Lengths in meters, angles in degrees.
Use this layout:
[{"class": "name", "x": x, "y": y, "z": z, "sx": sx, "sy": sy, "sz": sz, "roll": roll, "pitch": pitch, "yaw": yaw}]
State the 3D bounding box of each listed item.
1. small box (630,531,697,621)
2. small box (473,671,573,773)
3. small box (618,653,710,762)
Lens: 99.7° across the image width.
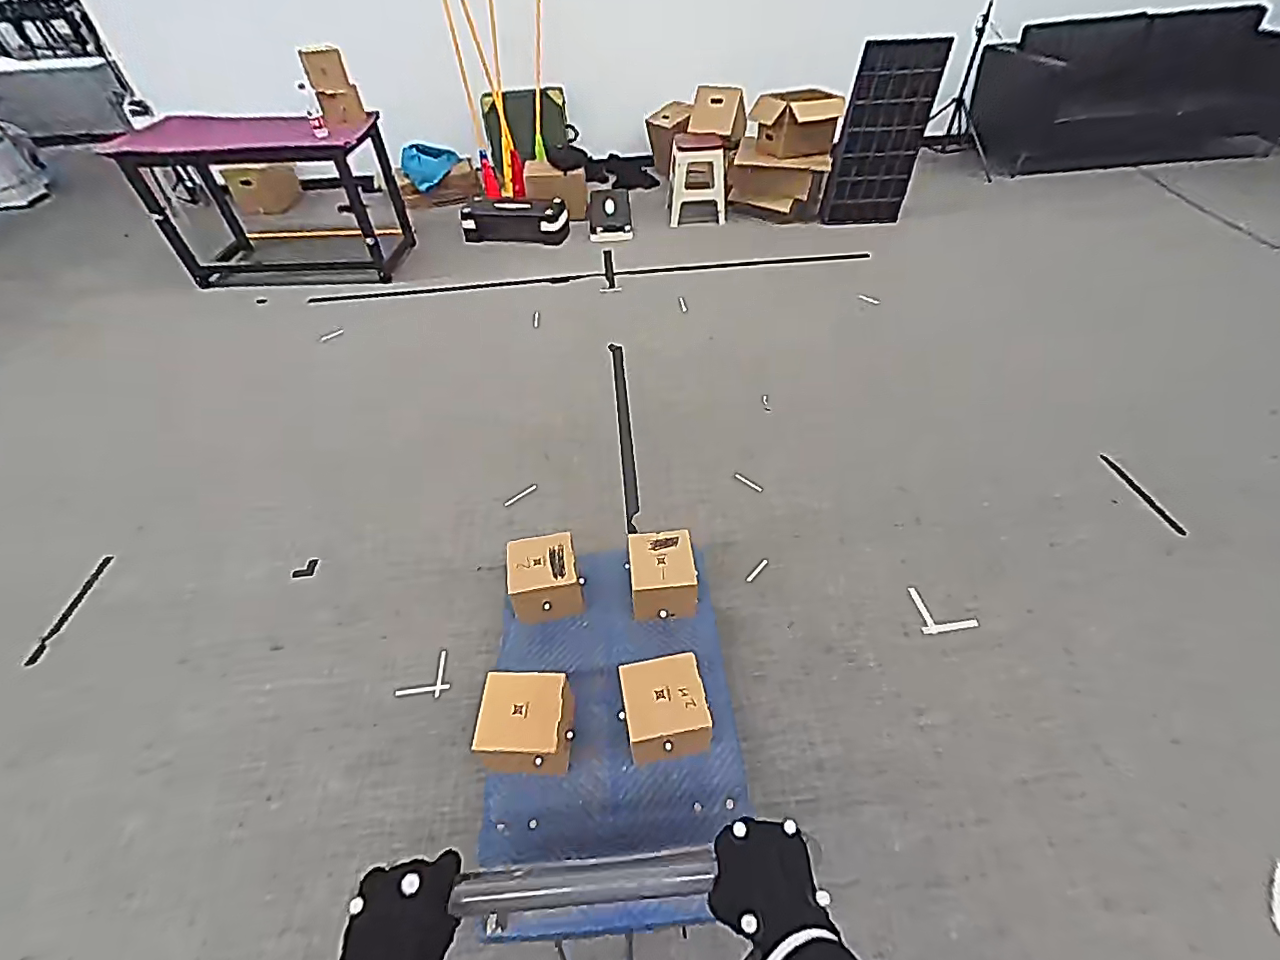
[{"class": "small box", "x": 0.059, "y": 0.261, "z": 1.465, "sx": 0.168, "sy": 0.176, "sz": 0.179, "roll": -5, "pitch": 48, "yaw": -2}, {"class": "small box", "x": -0.253, "y": 0.545, "z": 1.214, "sx": 0.179, "sy": 0.176, "sz": 0.168, "roll": 1, "pitch": 46, "yaw": 1}, {"class": "small box", "x": 0.053, "y": 0.518, "z": 1.223, "sx": 0.179, "sy": 0.176, "sz": 0.168, "roll": -9, "pitch": 47, "yaw": -5}]
